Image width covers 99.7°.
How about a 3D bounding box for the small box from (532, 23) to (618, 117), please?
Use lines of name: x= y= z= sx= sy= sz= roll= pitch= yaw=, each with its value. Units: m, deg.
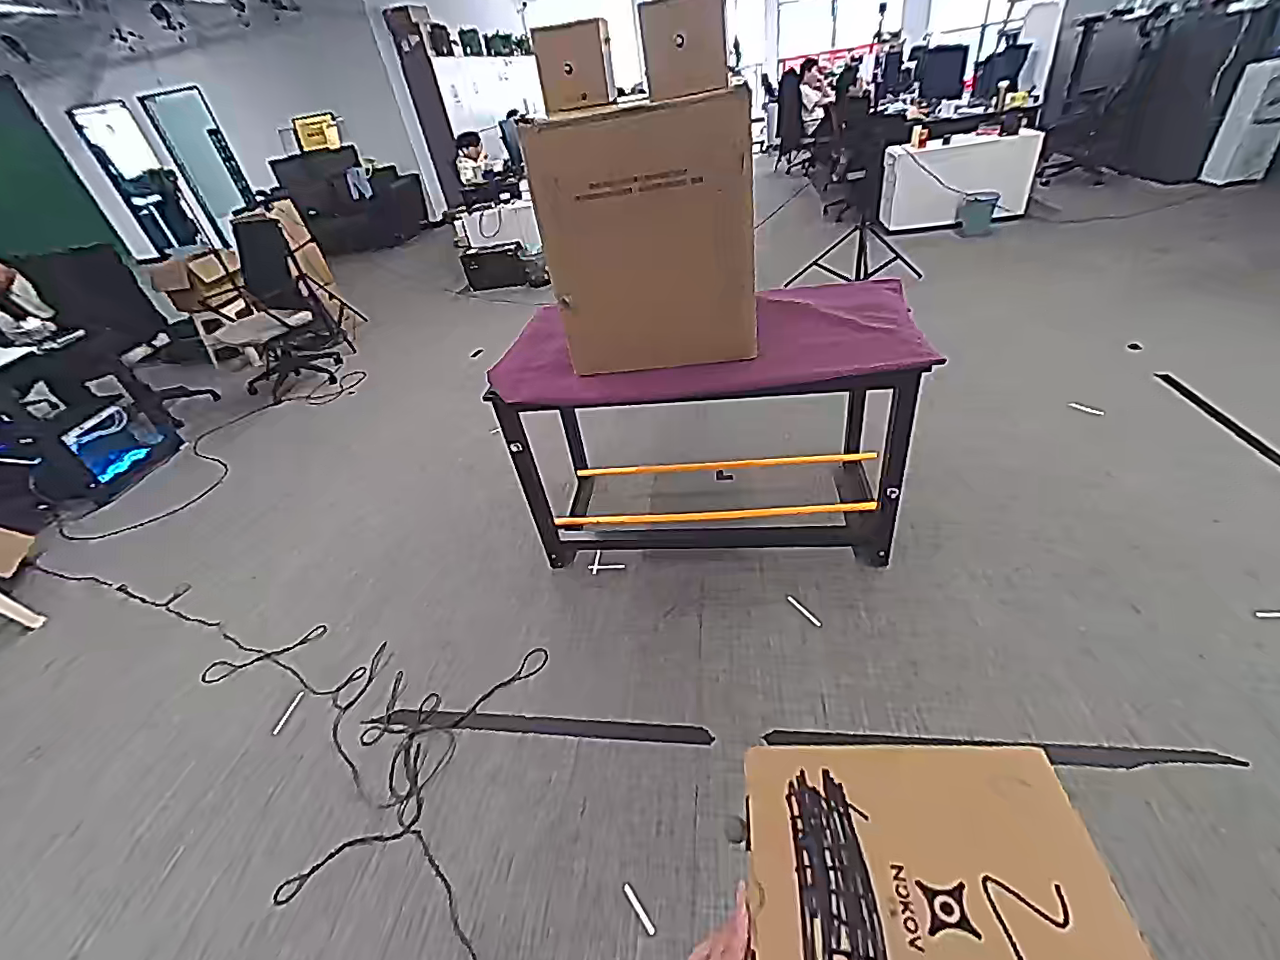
small box: x=-0.154 y=-1.025 z=1.360 sx=0.168 sy=0.176 sz=0.179 roll=-2 pitch=38 yaw=9
